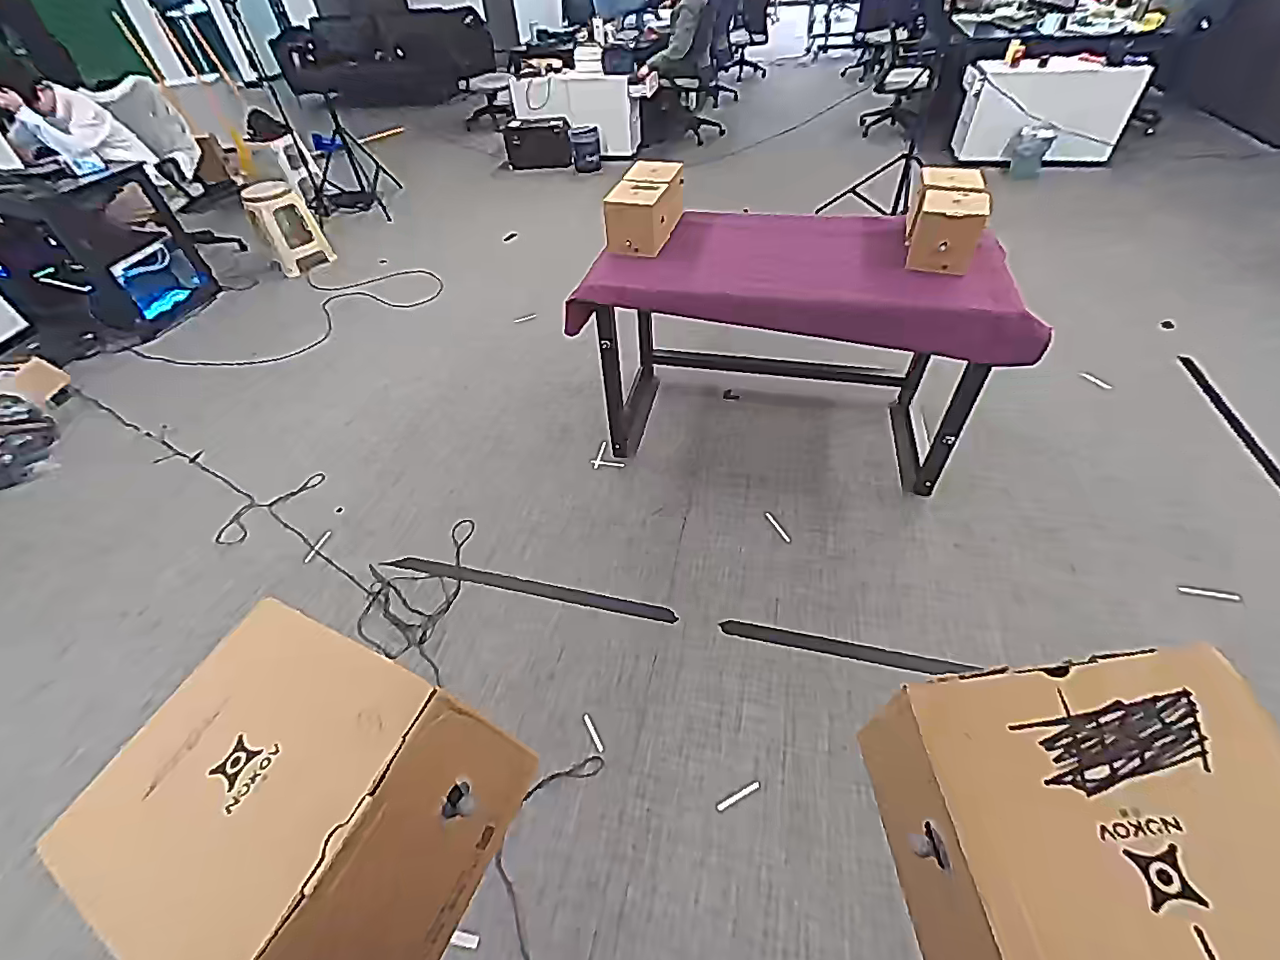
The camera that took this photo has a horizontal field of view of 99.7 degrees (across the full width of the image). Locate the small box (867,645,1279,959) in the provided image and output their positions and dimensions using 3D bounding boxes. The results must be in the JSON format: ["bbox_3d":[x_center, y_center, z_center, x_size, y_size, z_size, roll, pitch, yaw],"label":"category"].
[{"bbox_3d":[0.252,0.217,0.318,0.168,0.176,0.179,-11,56,5],"label":"small box"}]

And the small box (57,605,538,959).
[{"bbox_3d":[-0.197,0.216,0.364,0.179,0.176,0.168,12,54,26],"label":"small box"}]

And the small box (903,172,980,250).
[{"bbox_3d":[0.937,-0.845,1.696,0.168,0.176,0.179,11,47,14],"label":"small box"}]

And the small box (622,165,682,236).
[{"bbox_3d":[0.045,-0.971,1.878,0.168,0.176,0.179,11,49,14],"label":"small box"}]
